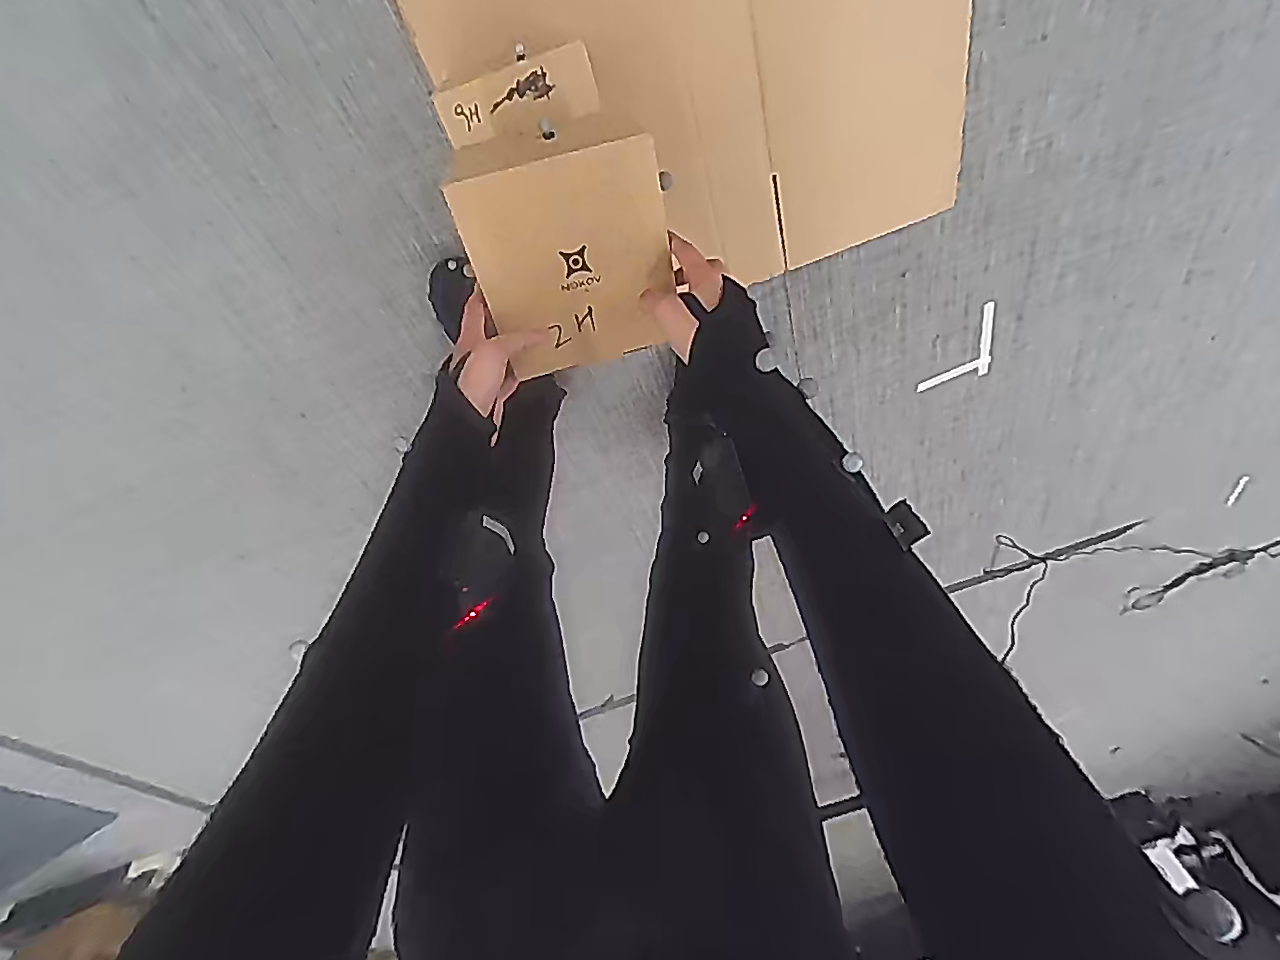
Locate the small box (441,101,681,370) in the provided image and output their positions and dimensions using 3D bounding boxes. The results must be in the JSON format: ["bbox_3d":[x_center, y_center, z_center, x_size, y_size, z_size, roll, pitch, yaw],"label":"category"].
[{"bbox_3d":[-0.068,-0.236,0.510,0.168,0.176,0.179,-14,132,0],"label":"small box"}]

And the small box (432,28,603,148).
[{"bbox_3d":[-0.123,-0.405,0.647,0.168,0.176,0.179,-19,133,3],"label":"small box"}]
